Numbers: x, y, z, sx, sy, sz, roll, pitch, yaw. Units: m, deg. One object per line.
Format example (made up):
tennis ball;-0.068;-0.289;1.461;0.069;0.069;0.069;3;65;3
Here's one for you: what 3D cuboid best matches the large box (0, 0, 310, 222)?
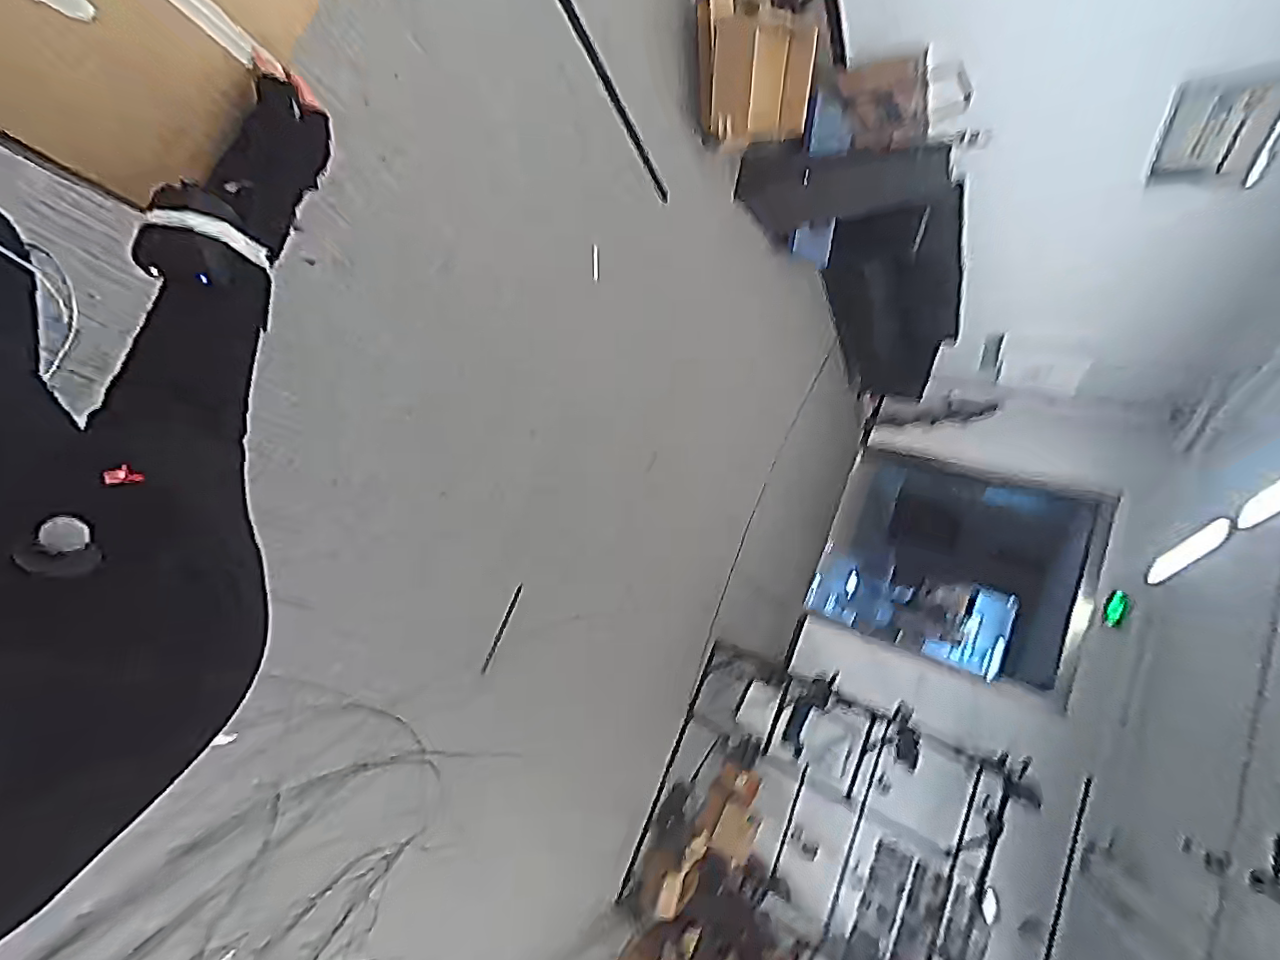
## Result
large box;-0.528;-0.460;0.373;0.320;0.320;0.408;-62;152;-1
